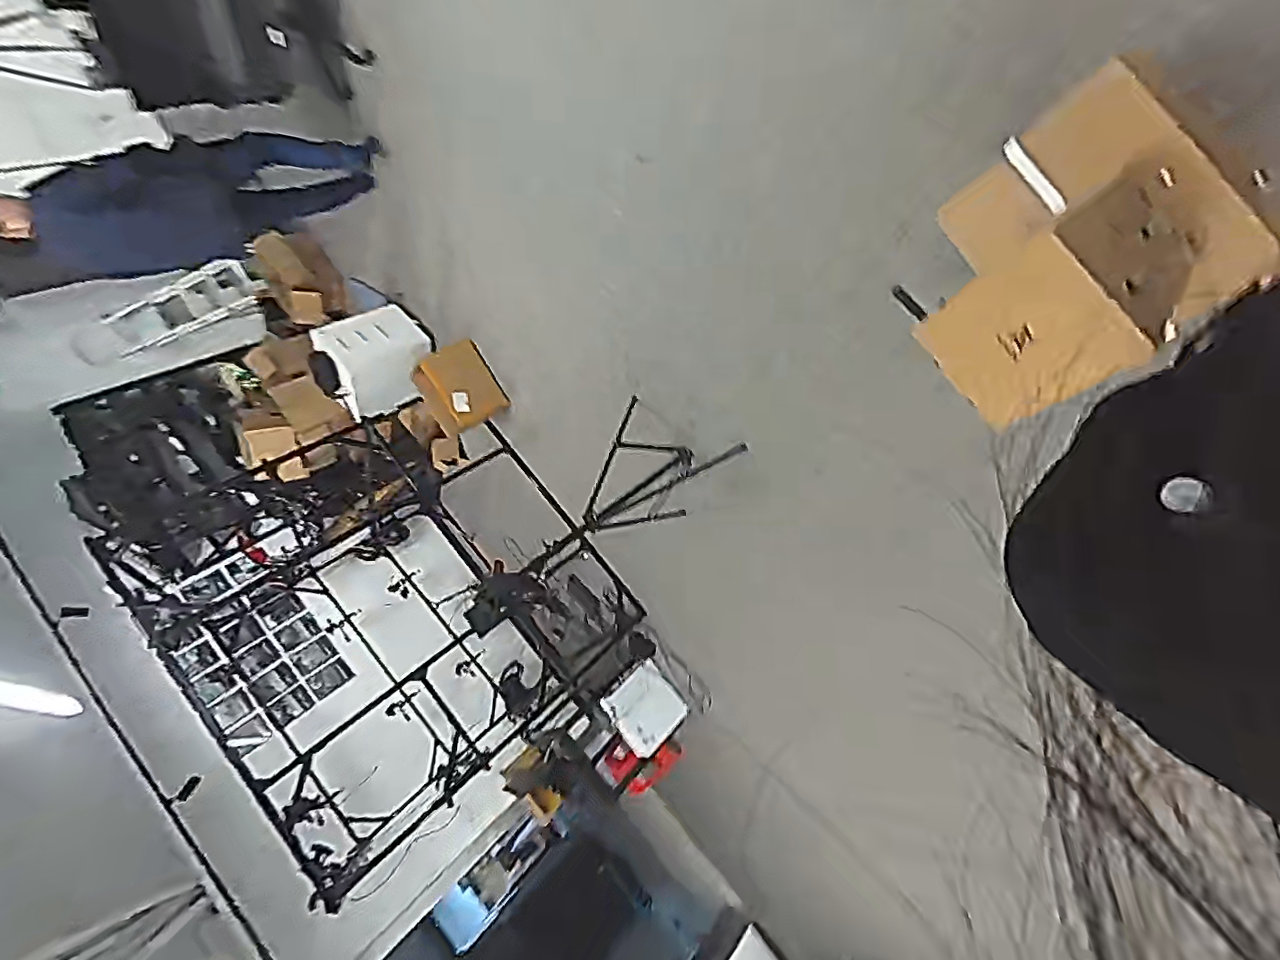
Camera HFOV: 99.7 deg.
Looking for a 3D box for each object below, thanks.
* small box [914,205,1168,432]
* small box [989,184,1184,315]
[{"bbox_3d":[0.480,-0.194,0.649,0.168,0.176,0.179,52,147,4],"label":"small box"},{"bbox_3d":[0.591,-0.270,0.741,0.168,0.176,0.179,53,146,3],"label":"small box"}]
